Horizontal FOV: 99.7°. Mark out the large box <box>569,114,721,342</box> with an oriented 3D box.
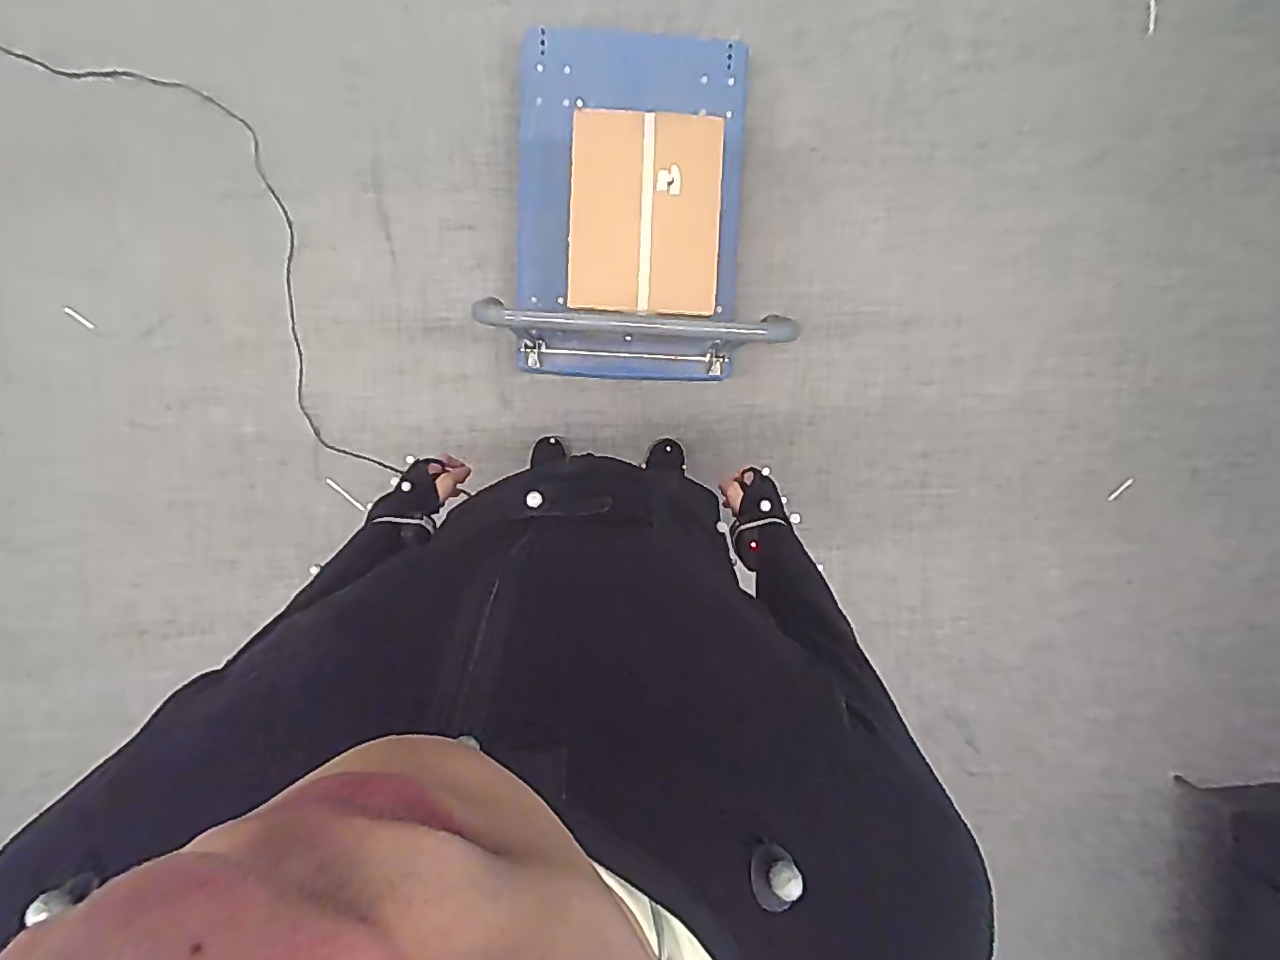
[{"bbox_3d":[0.006,-0.556,1.273,0.320,0.320,0.408,2,93,-4],"label":"large box"}]
